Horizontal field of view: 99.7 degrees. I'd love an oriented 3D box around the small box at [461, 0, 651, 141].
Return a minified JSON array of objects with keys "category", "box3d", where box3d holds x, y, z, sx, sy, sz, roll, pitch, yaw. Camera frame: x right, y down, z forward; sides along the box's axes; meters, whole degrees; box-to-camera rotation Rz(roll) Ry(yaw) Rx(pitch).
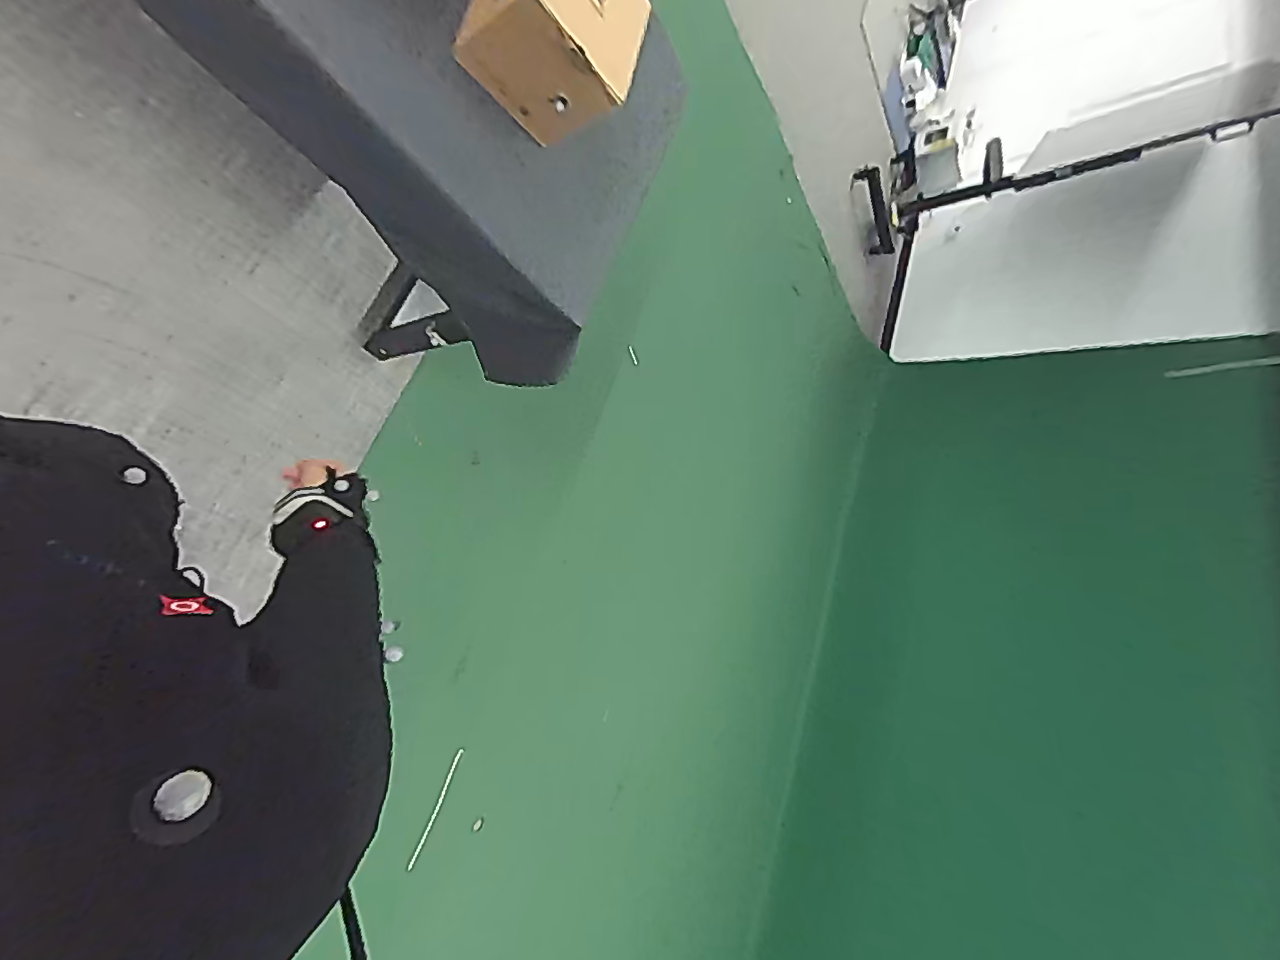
[{"category":"small box","box3d":[-0.113,-0.605,0.726,0.168,0.176,0.179,26,72,-49]}]
